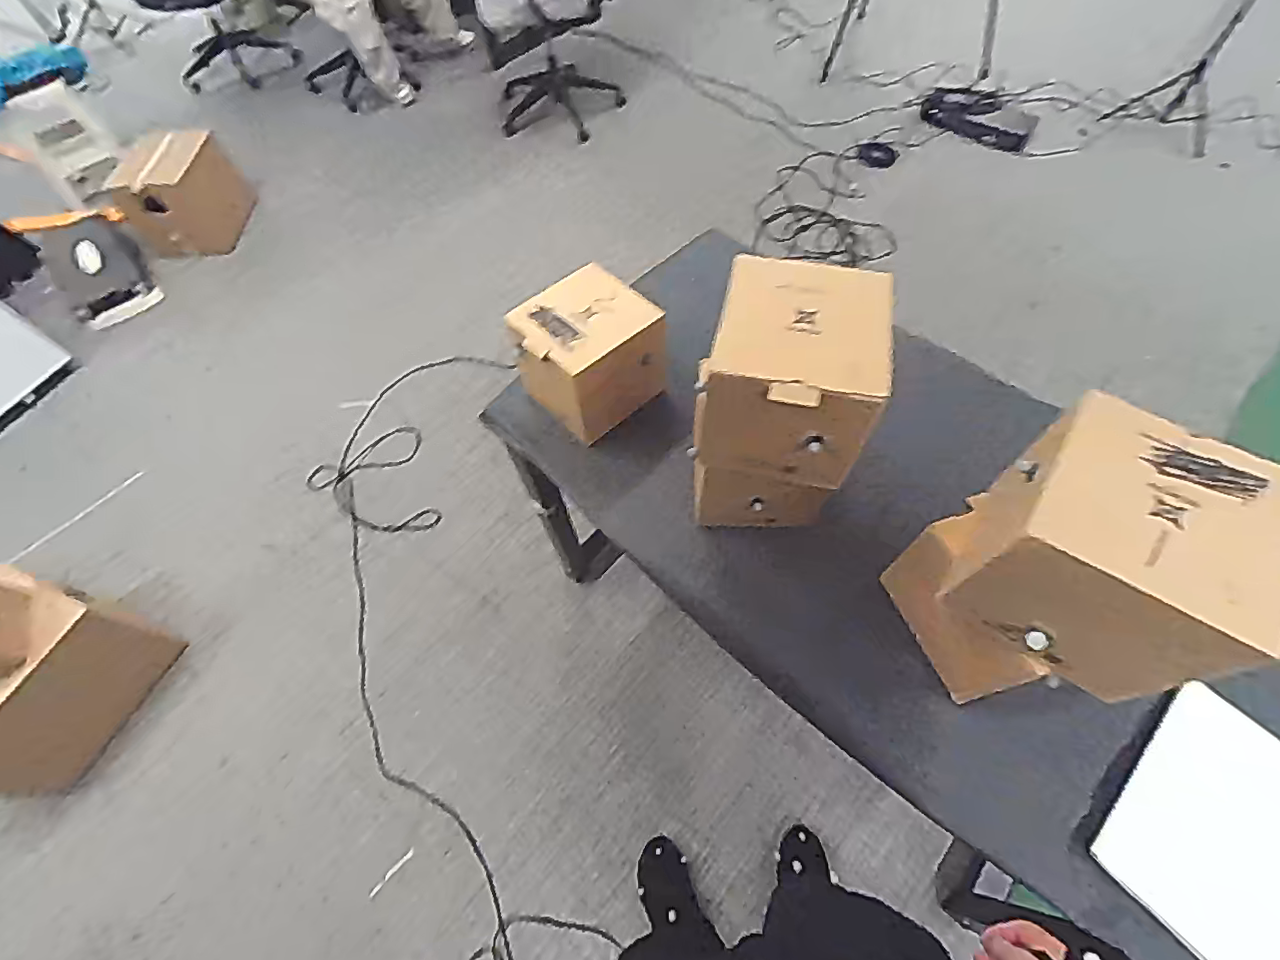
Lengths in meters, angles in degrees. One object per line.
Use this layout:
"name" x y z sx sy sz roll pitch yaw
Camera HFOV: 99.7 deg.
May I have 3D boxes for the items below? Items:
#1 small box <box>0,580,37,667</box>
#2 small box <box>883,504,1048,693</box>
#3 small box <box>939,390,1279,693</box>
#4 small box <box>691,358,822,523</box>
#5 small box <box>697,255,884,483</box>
"small box" -1.429 0.309 1.126 0.168 0.176 0.179 -24 63 -11
"small box" 0.423 0.134 0.633 0.168 0.176 0.179 -17 59 -7
"small box" 0.406 0.060 0.487 0.168 0.176 0.179 32 66 21
"small box" 0.160 -0.049 0.756 0.168 0.176 0.179 1 59 2
"small box" 0.160 -0.118 0.608 0.168 0.176 0.179 11 60 8
